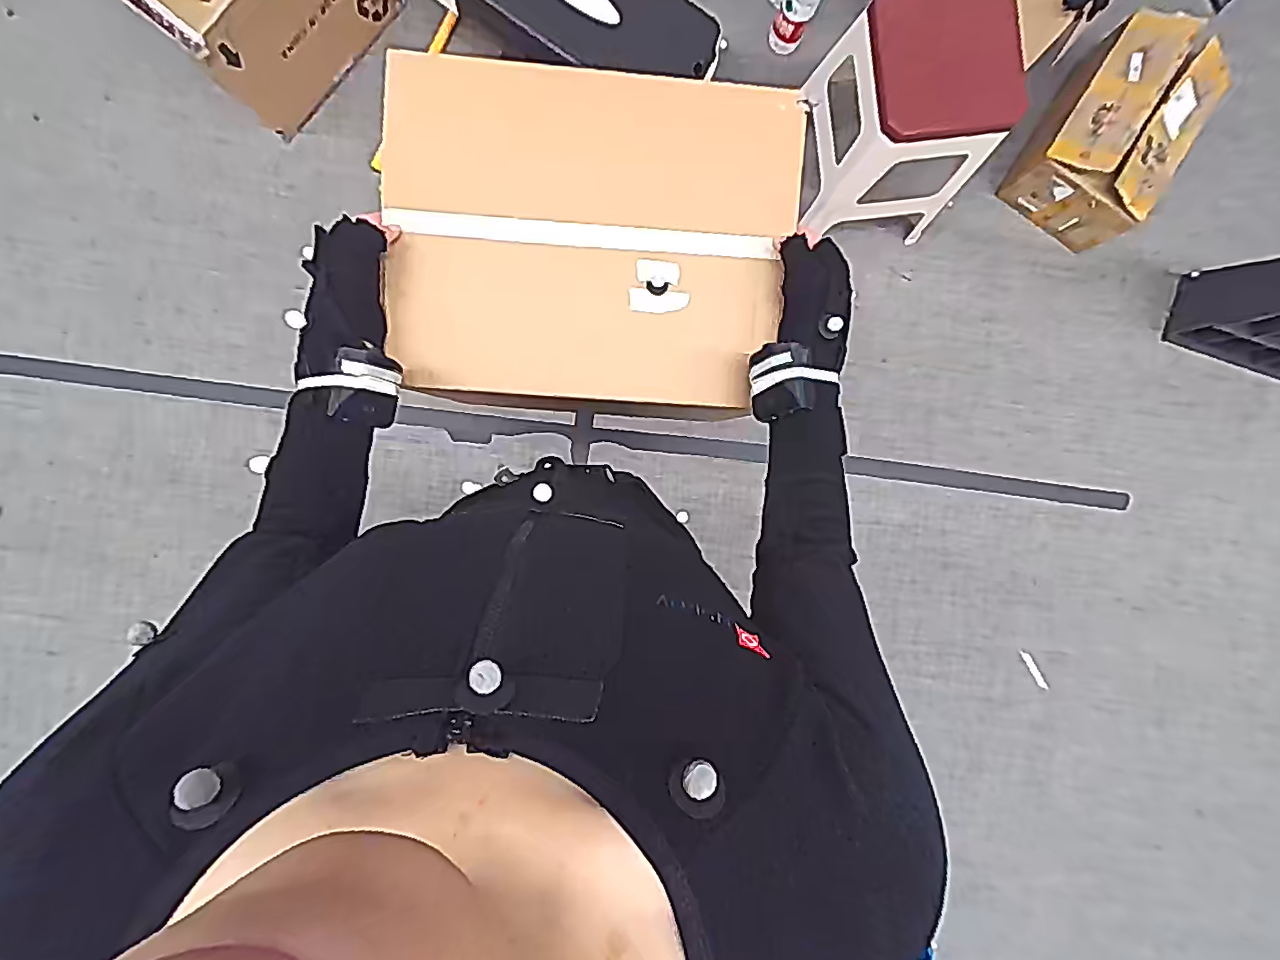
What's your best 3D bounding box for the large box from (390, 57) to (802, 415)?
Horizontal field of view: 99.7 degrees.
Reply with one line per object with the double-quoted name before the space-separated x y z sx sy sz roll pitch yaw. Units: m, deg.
"large box" -0.053 -0.253 0.683 0.408 0.320 0.320 3 94 -4
